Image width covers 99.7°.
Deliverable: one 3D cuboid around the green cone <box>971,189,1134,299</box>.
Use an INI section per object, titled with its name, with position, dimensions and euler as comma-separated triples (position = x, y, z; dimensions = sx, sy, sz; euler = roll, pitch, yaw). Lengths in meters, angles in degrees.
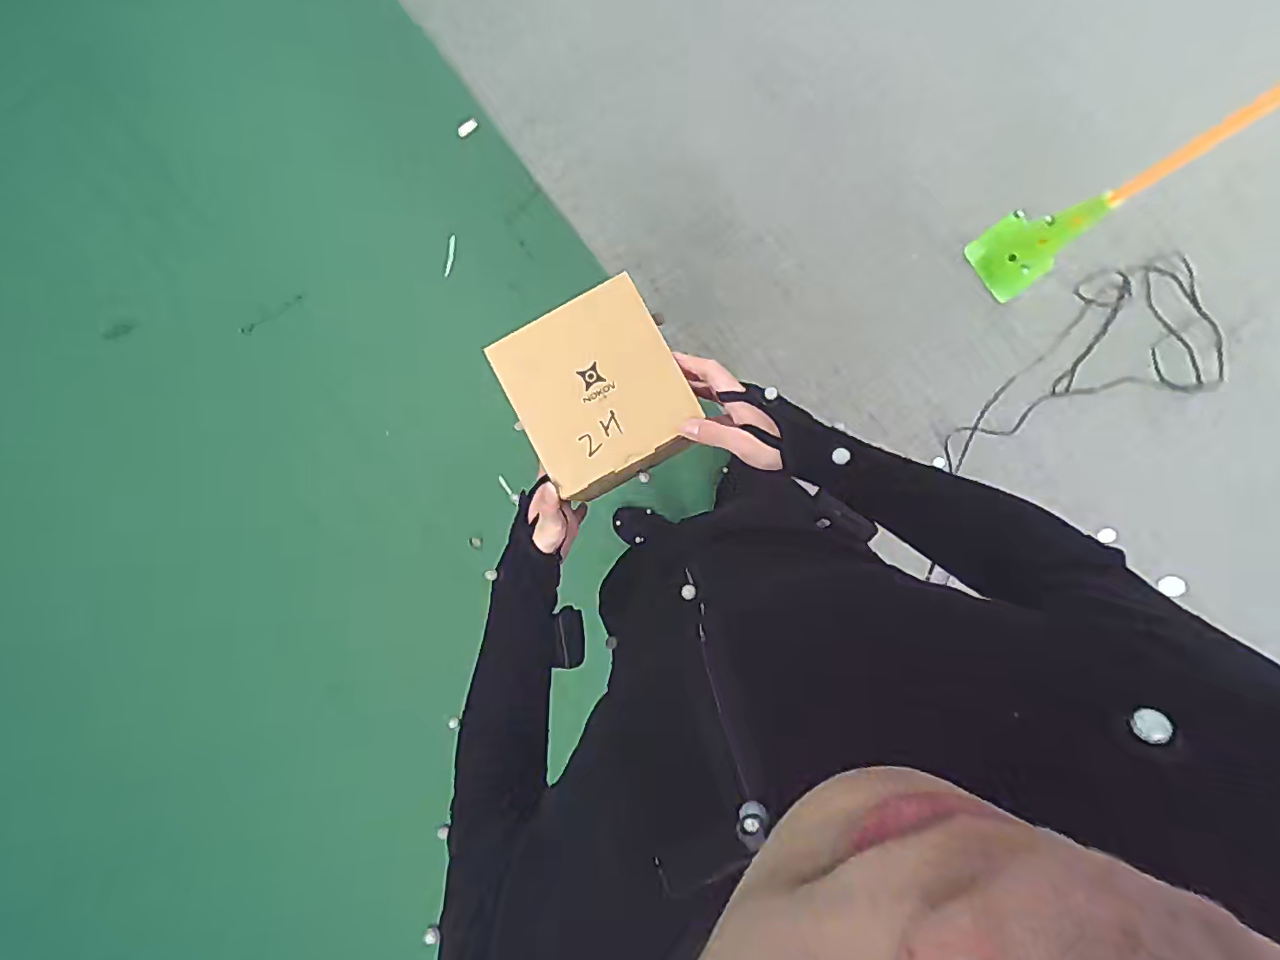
[green cone]
position = 1.074, -0.639, 1.377
dimensions = 0.200, 0.368, 0.202
euler = -37, 92, 3
